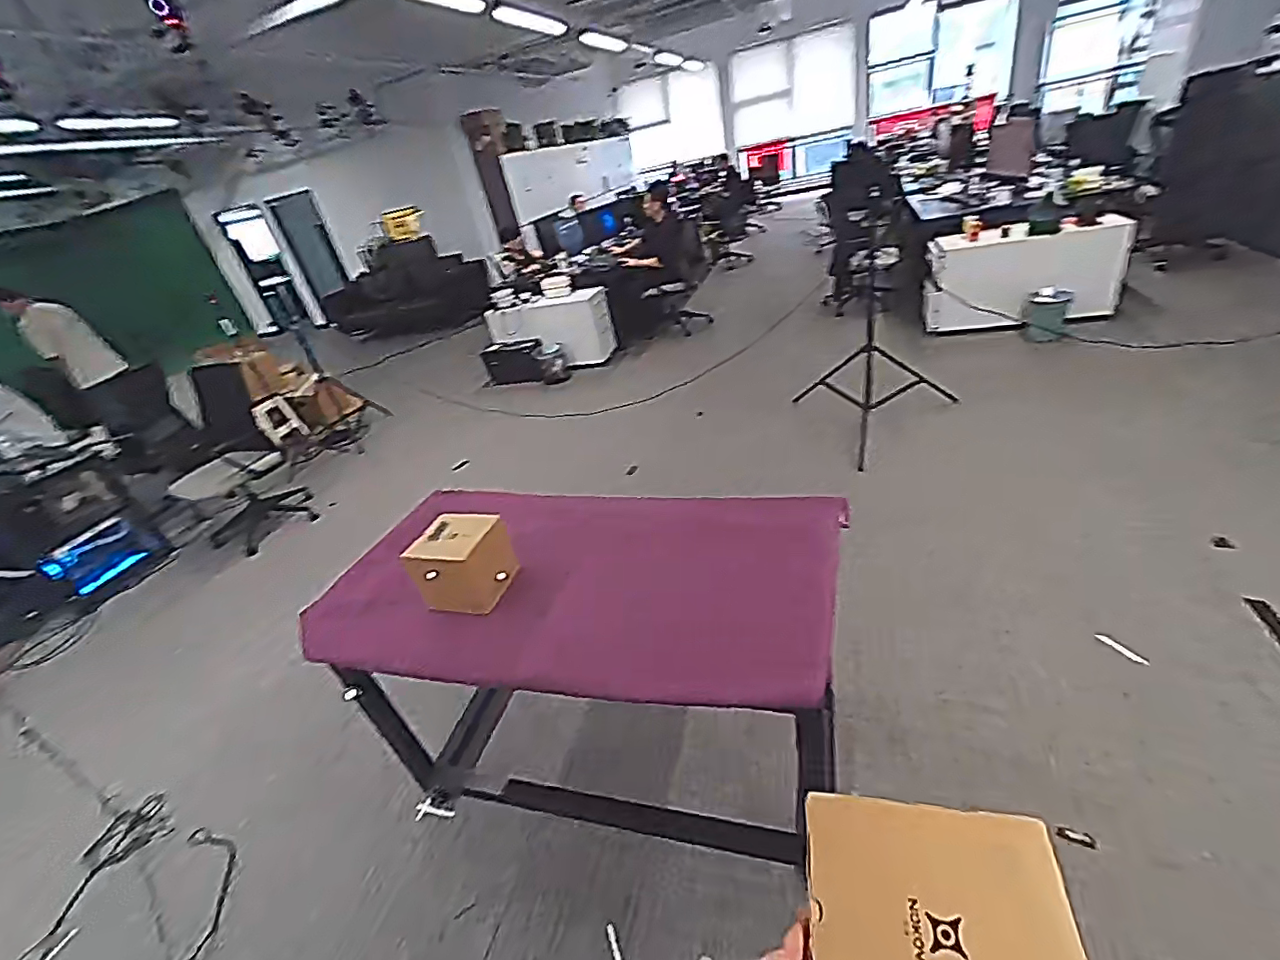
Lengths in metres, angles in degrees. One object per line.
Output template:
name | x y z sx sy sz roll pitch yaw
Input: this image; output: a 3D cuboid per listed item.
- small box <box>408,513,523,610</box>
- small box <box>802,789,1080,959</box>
small box | -0.413 0.196 1.307 0.179 0.176 0.168 0 34 20
small box | 0.224 0.373 0.430 0.179 0.176 0.168 -3 41 17
